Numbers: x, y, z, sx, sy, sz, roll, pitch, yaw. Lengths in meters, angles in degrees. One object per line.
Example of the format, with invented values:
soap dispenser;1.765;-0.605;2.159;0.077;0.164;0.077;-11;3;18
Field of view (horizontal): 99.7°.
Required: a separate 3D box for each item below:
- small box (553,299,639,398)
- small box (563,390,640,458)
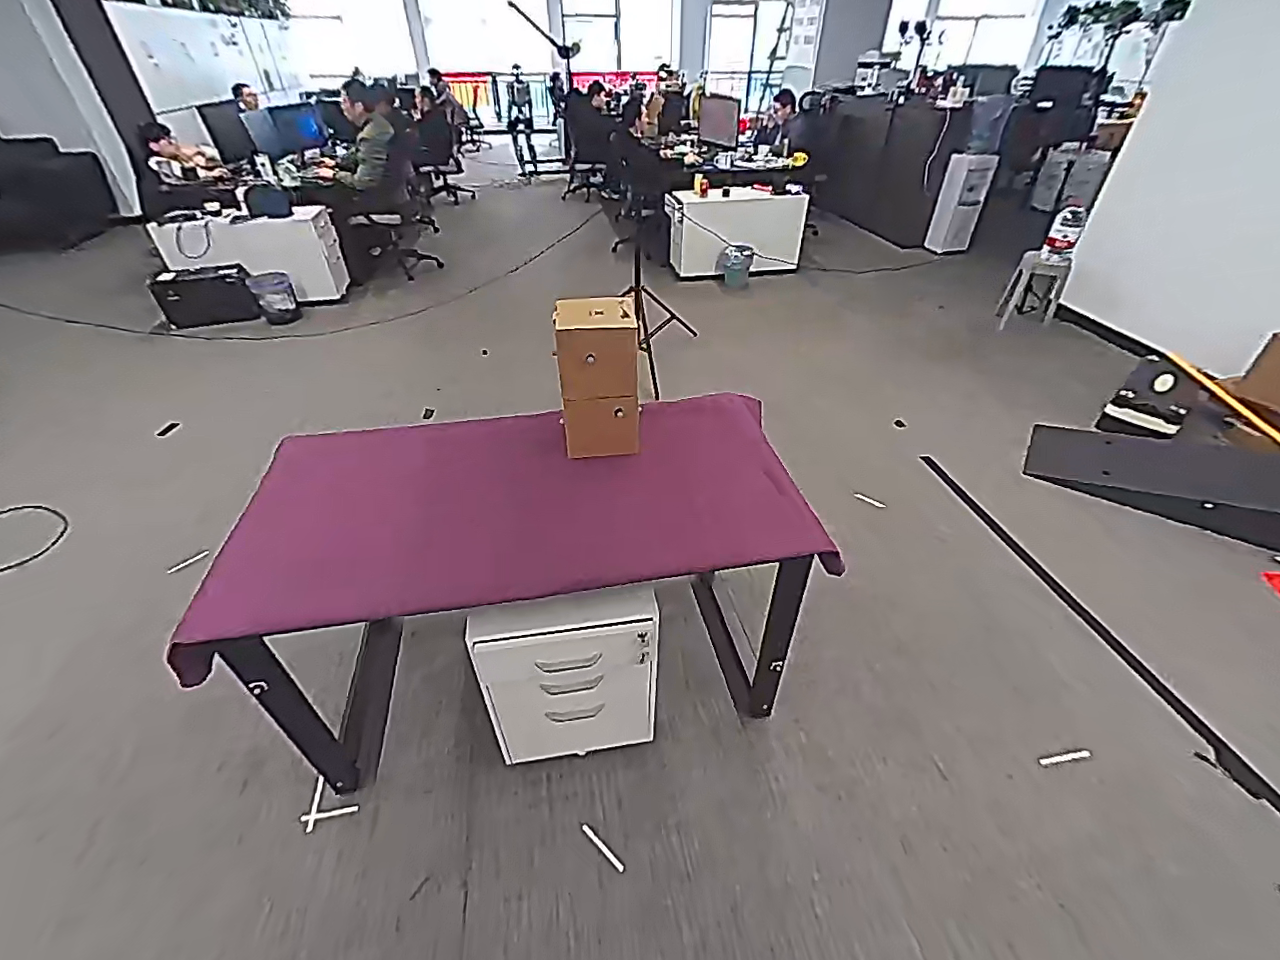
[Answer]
small box;-0.098;-0.298;1.235;0.179;0.176;0.168;-5;40;-3
small box;-0.096;-0.170;1.338;0.179;0.176;0.168;-5;39;-5
